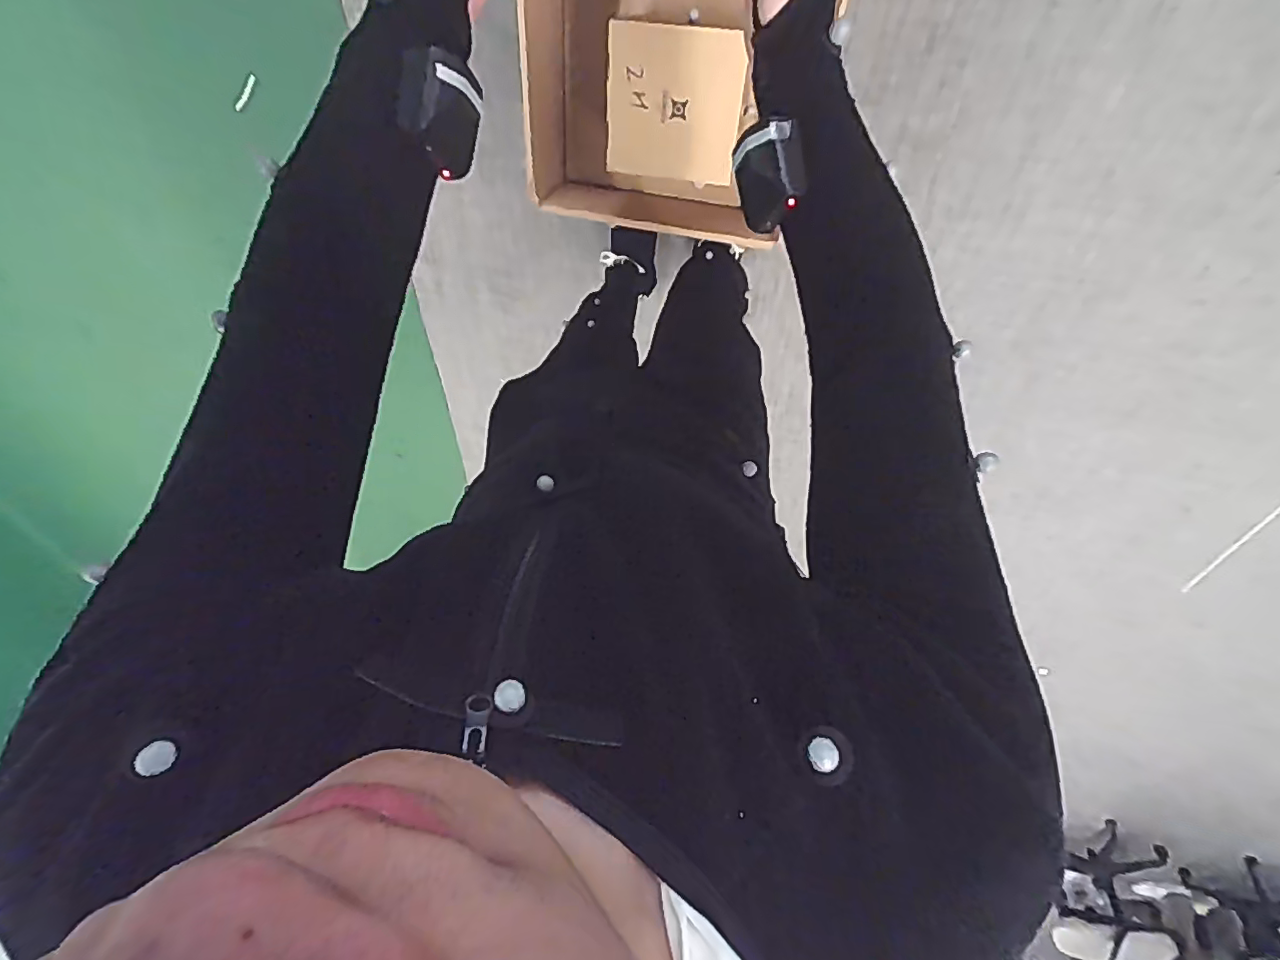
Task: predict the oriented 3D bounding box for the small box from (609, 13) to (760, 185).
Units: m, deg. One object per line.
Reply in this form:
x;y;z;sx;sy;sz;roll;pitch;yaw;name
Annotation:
0.063;-0.529;0.747;0.179;0.176;0.168;11;133;6;small box
